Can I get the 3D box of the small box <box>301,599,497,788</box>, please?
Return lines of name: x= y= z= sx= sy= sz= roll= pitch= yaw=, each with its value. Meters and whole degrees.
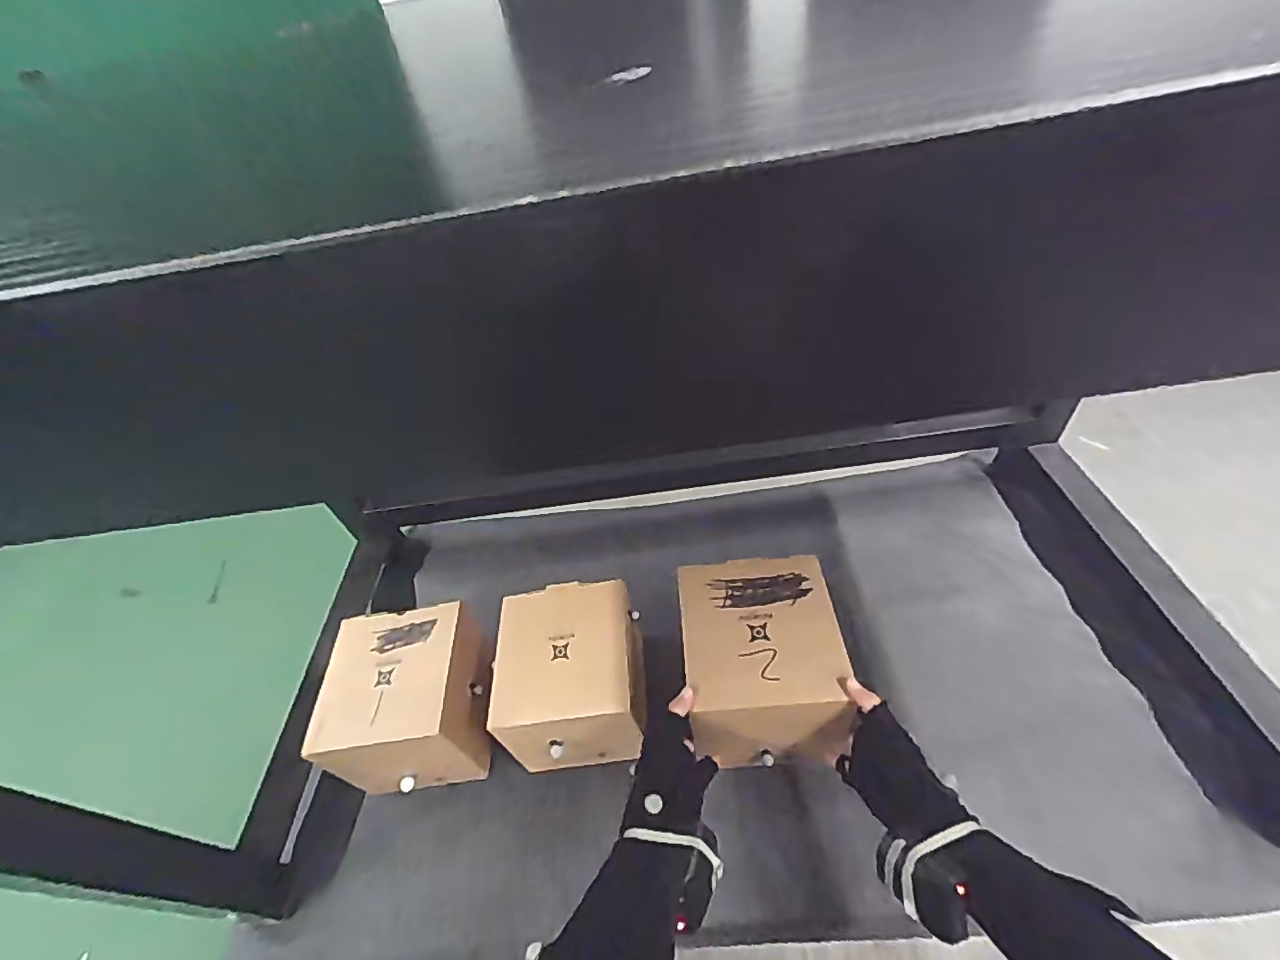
small box: x=-0.302 y=0.288 z=0.727 sx=0.168 sy=0.176 sz=0.179 roll=-10 pitch=46 yaw=3
